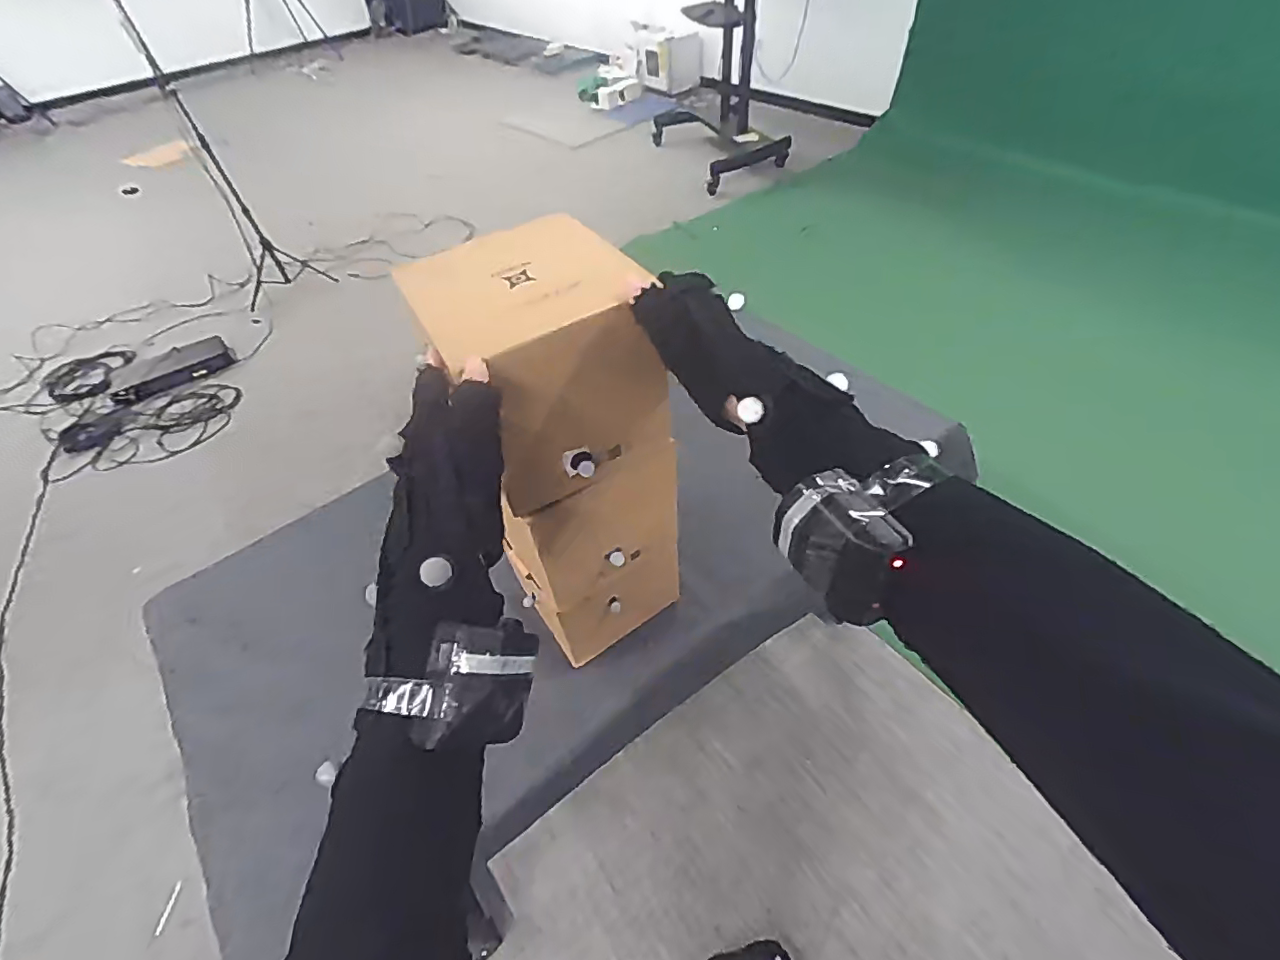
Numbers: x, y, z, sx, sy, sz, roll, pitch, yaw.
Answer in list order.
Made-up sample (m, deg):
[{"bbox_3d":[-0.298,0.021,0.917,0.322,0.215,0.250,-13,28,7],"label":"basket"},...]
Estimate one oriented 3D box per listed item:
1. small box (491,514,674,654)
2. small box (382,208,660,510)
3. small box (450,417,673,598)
[{"bbox_3d":[-0.068,0.101,0.730,0.179,0.176,0.168,-31,53,-18],"label":"small box"},{"bbox_3d":[-0.096,-0.107,0.478,0.168,0.176,0.179,-27,52,-15],"label":"small box"},{"bbox_3d":[-0.079,-0.004,0.604,0.168,0.176,0.179,-33,52,-21],"label":"small box"}]
